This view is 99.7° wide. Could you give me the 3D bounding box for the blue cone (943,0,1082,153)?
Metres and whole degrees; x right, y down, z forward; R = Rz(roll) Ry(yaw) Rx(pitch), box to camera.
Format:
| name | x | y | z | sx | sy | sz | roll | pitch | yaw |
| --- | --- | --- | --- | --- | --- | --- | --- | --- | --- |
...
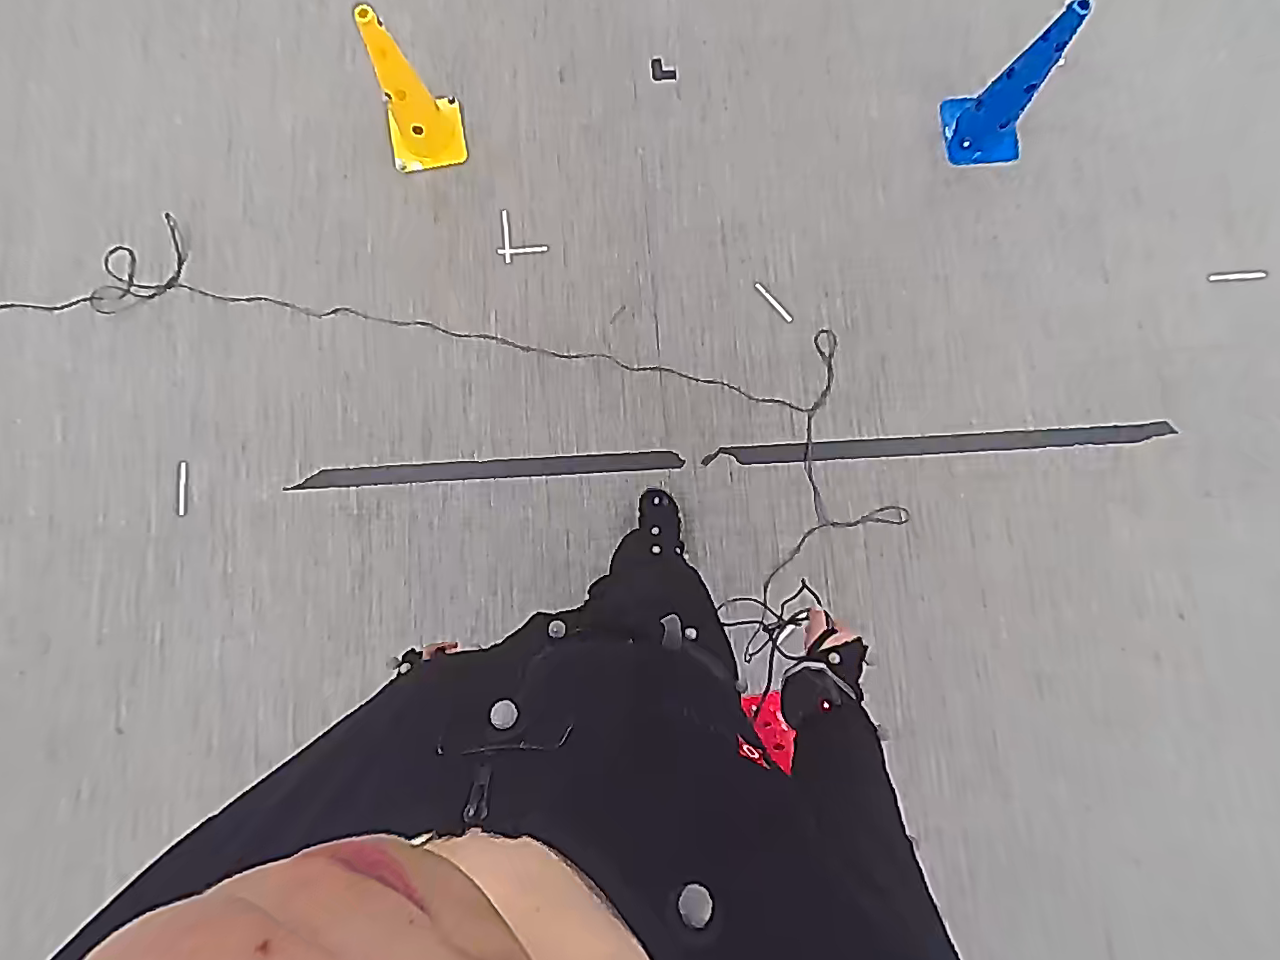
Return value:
| name | x | y | z | sx | sy | sz | roll | pitch | yaw |
| --- | --- | --- | --- | --- | --- | --- | --- | --- | --- |
| blue cone | 0.946 | -1.019 | 1.340 | 0.193 | 0.380 | 0.192 | -3 | 82 | 0 |
